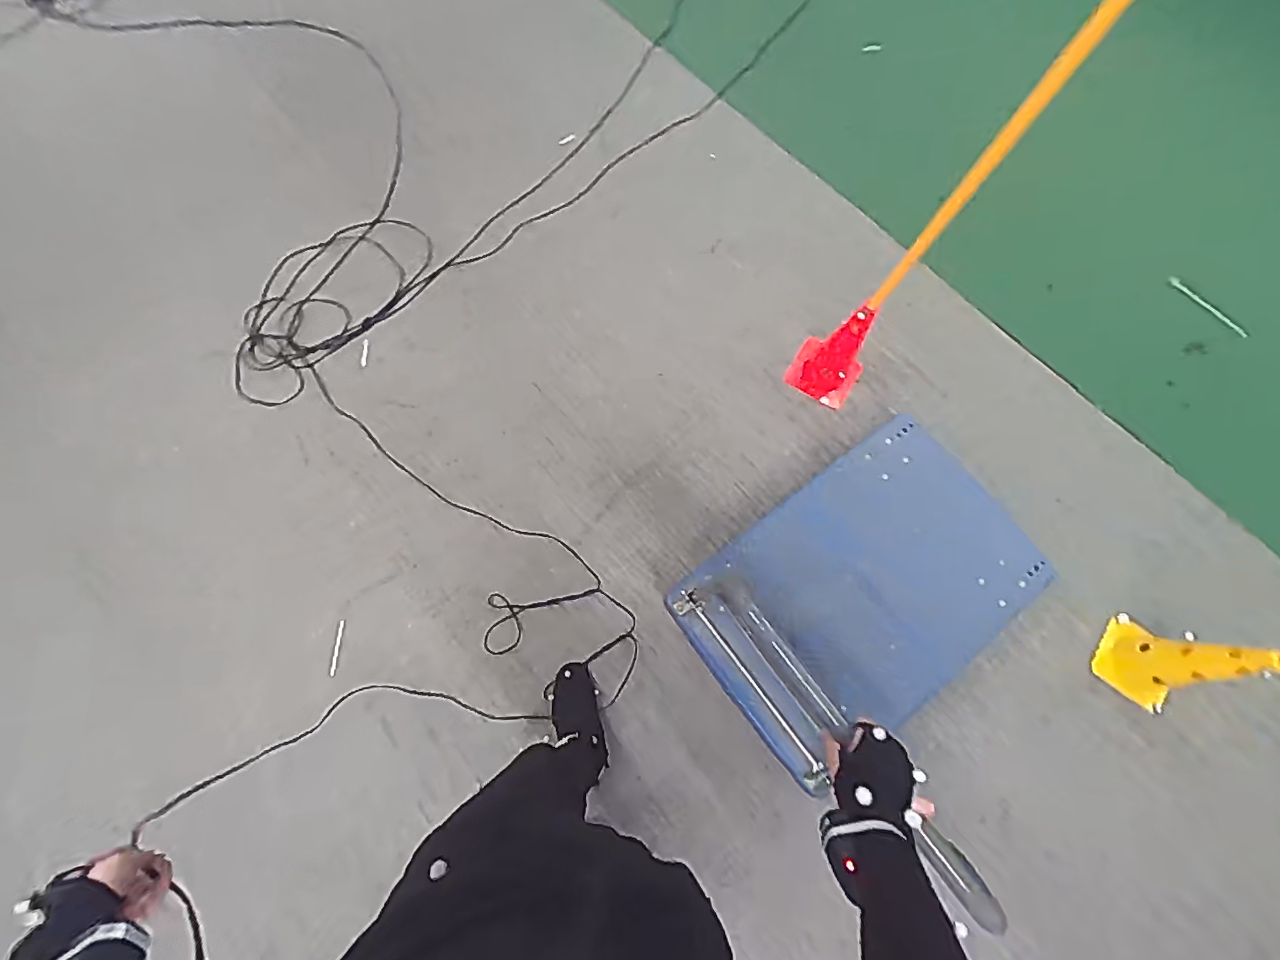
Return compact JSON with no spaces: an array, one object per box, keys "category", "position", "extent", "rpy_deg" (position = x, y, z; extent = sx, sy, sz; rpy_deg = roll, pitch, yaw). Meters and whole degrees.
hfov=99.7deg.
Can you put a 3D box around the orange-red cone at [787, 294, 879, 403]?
[{"category":"orange-red cone","position":[0.597,-0.412,1.570],"extent":[0.199,0.360,0.198],"rpy_deg":[33,73,9]}]
